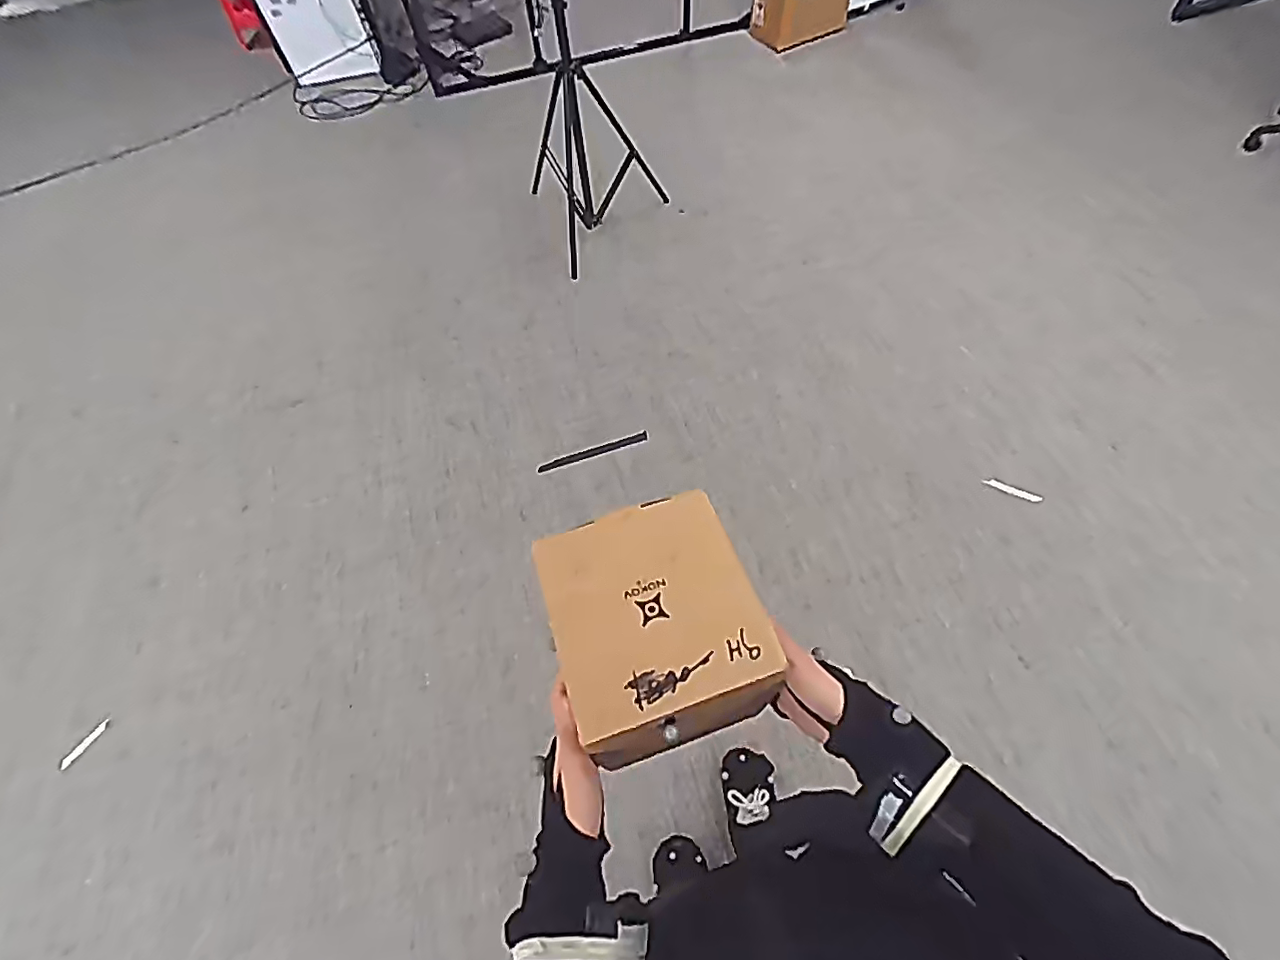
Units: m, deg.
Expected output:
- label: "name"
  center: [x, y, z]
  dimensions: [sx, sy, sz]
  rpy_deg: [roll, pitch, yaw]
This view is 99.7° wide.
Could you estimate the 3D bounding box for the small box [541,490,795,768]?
- label: "small box"
  center: [0.018, 0.142, 0.504]
  dimensions: [0.168, 0.176, 0.179]
  rpy_deg: [-17, 56, -8]
